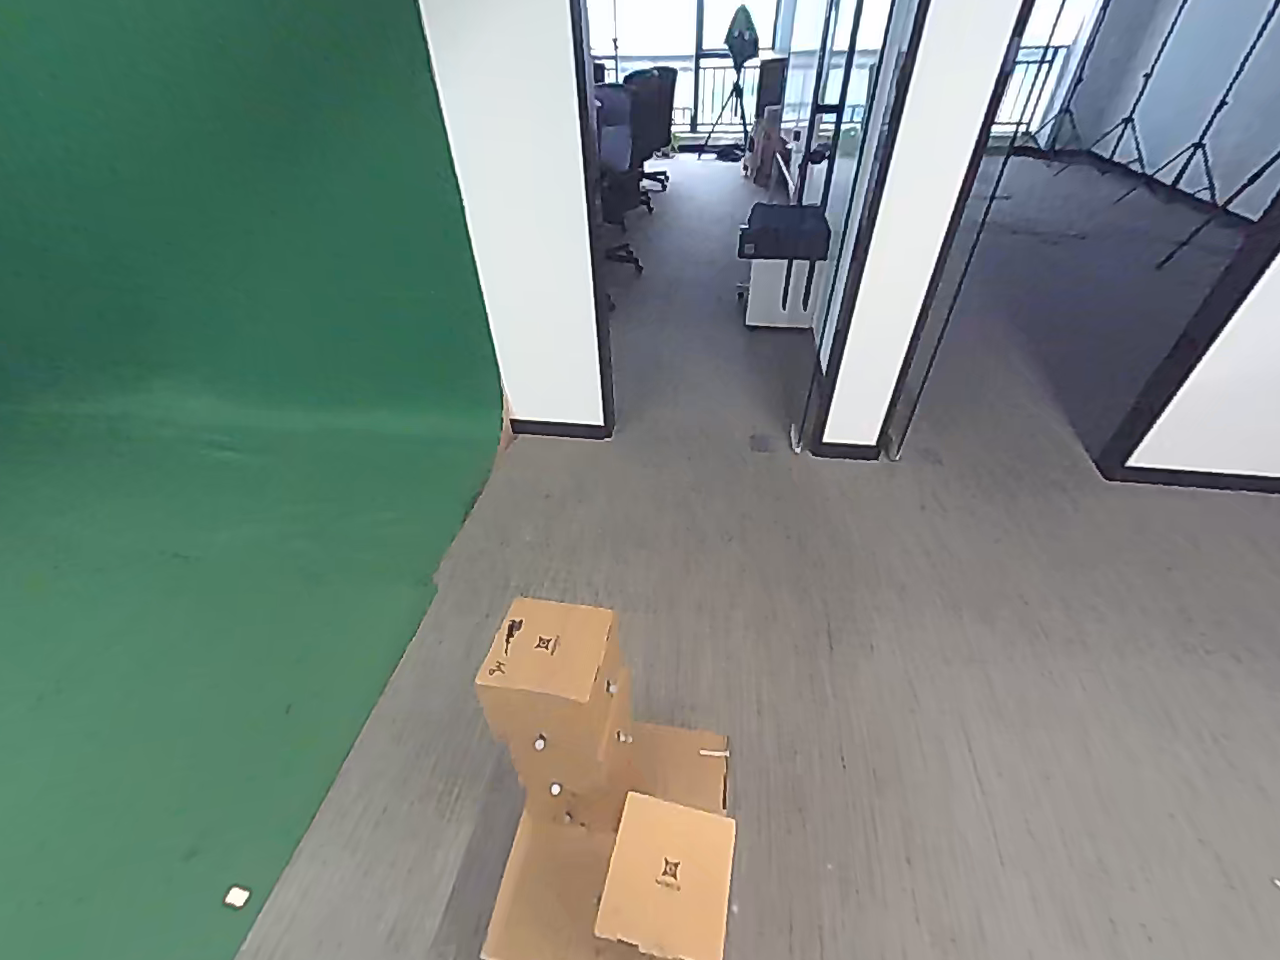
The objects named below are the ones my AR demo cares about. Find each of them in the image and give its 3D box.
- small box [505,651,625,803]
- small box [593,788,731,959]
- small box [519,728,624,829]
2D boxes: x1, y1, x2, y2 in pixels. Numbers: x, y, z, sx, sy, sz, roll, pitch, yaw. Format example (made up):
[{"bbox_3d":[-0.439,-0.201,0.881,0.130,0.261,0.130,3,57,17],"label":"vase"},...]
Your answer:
[{"bbox_3d":[-0.126,0.445,0.981,0.168,0.176,0.179,7,38,10],"label":"small box"},{"bbox_3d":[0.034,0.596,0.794,0.168,0.176,0.179,9,40,10],"label":"small box"},{"bbox_3d":[-0.129,0.566,1.094,0.168,0.176,0.179,5,37,9],"label":"small box"}]
